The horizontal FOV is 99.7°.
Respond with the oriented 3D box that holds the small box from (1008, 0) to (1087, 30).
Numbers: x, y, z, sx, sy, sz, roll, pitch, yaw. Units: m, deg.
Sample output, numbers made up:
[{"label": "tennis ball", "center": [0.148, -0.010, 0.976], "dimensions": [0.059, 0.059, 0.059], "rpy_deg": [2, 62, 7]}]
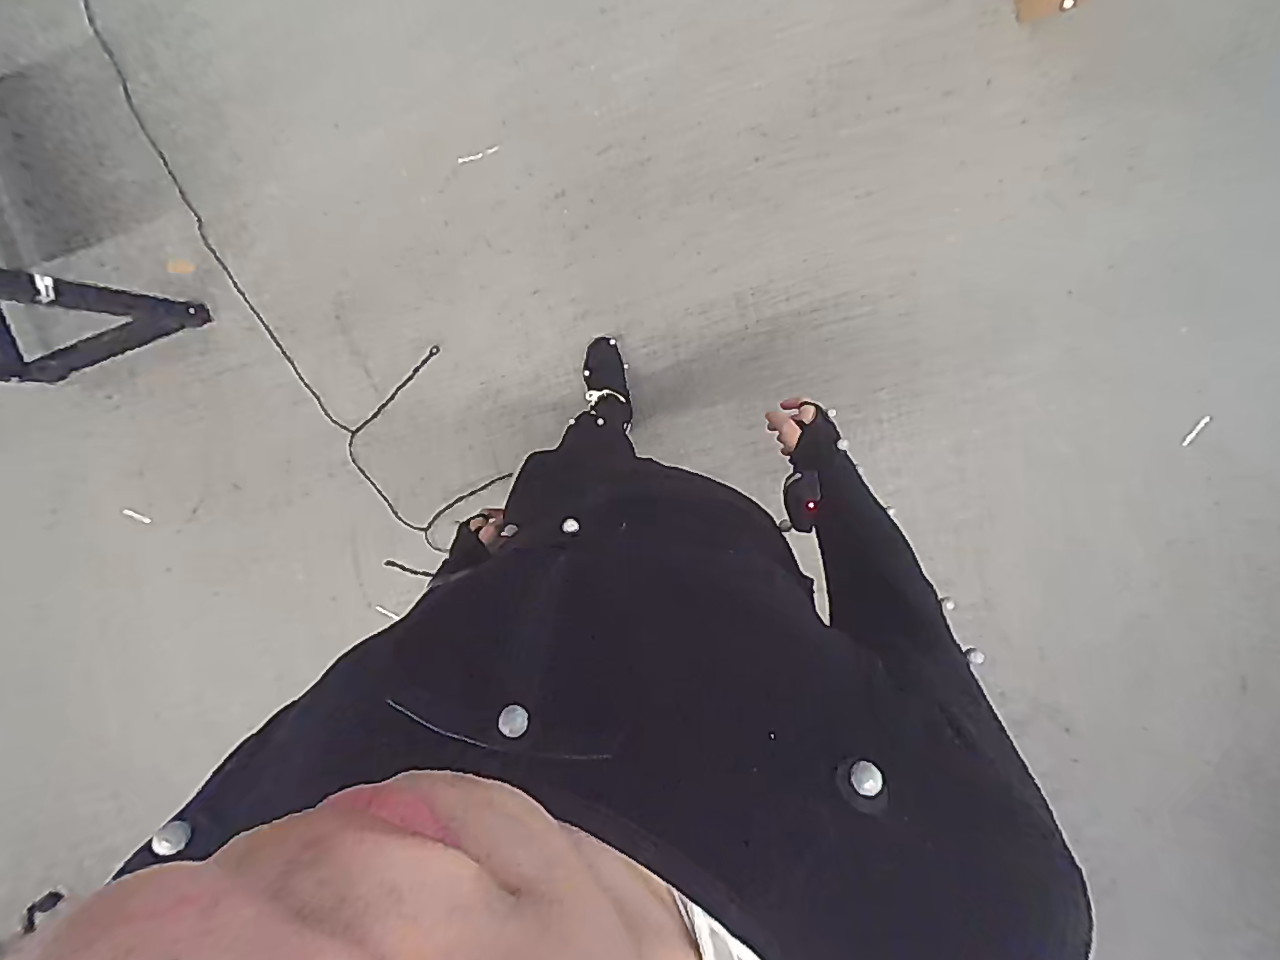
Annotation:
[{"label": "small box", "center": [1.014, -1.250, 1.299], "dimensions": [0.168, 0.176, 0.179], "rpy_deg": [-15, 97, 6]}]
